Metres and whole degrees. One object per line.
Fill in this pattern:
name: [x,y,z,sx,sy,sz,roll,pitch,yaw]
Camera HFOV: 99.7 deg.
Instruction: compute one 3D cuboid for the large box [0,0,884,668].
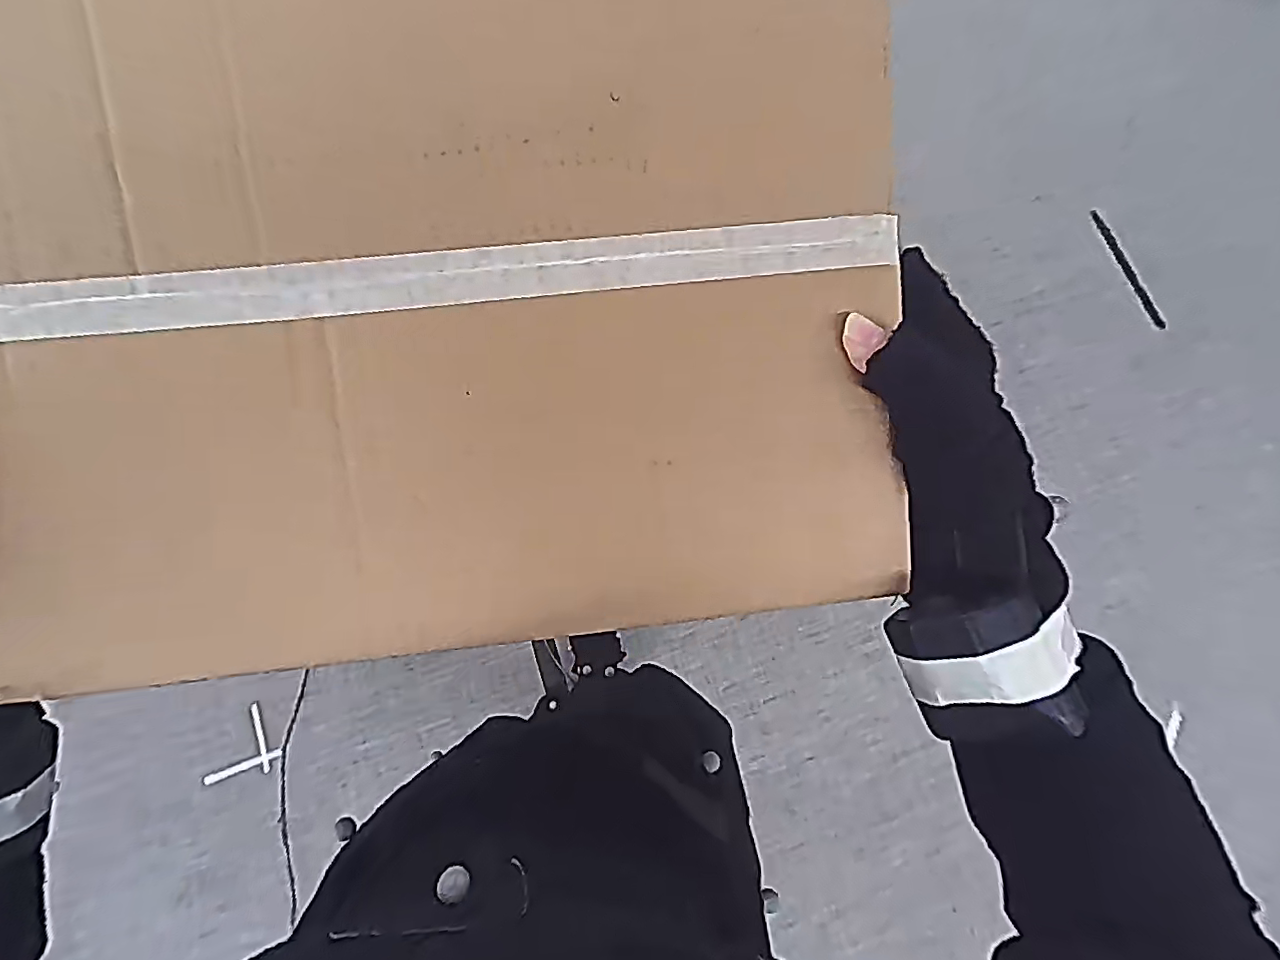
large box: [-0.098,-0.105,0.380,0.408,0.320,0.320,-5,97,-4]
